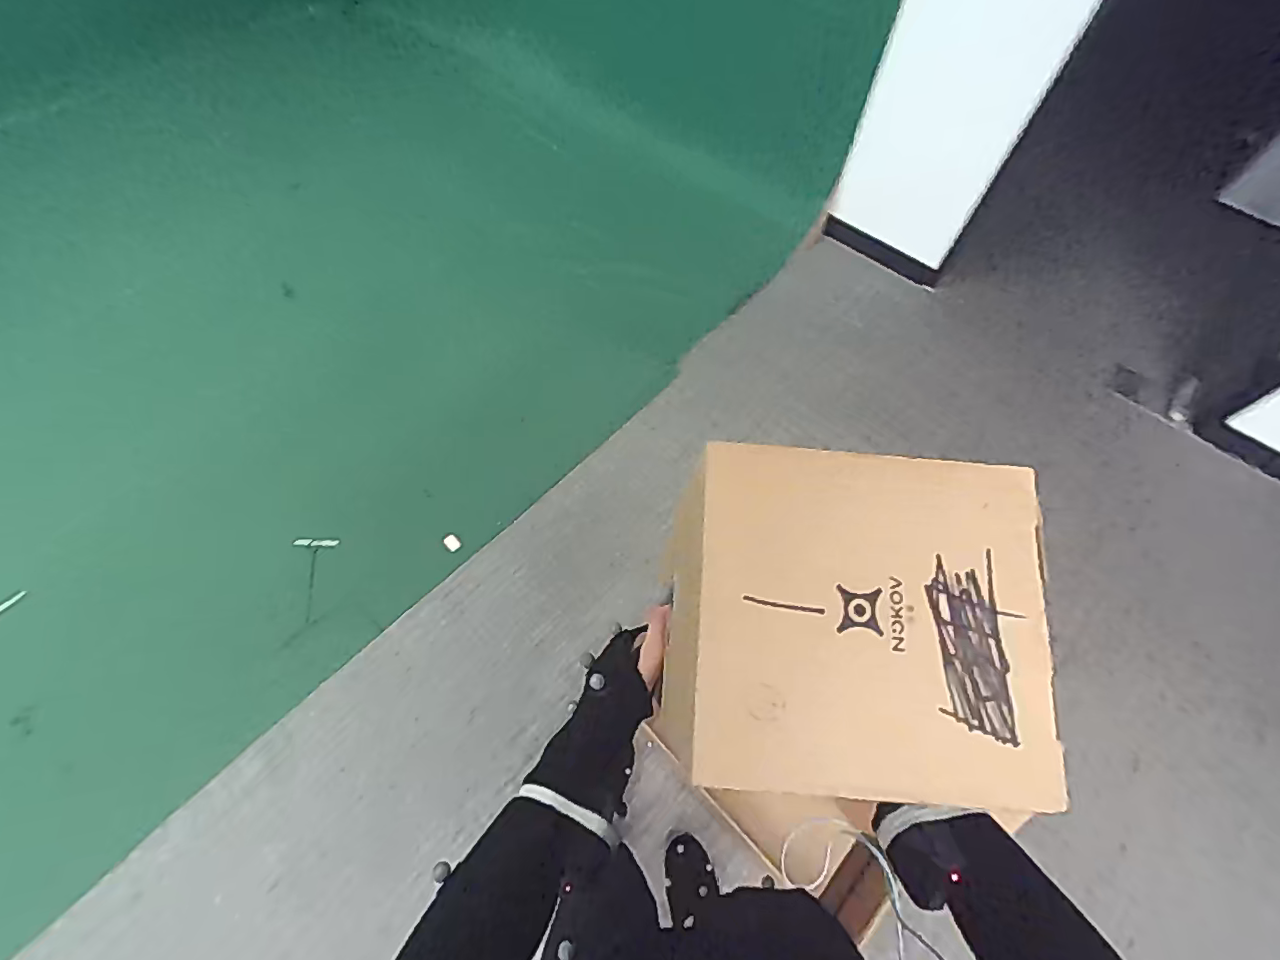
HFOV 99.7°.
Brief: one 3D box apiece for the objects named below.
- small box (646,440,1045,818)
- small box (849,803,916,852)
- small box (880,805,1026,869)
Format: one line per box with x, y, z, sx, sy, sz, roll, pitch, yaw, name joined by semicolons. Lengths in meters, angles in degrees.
0.101;0.085;0.339;0.179;0.176;0.168;5;75;-1;small box
0.466;0.546;1.007;0.168;0.176;0.179;-31;67;-14;small box
0.470;0.472;0.862;0.179;0.176;0.168;-28;68;-14;small box
